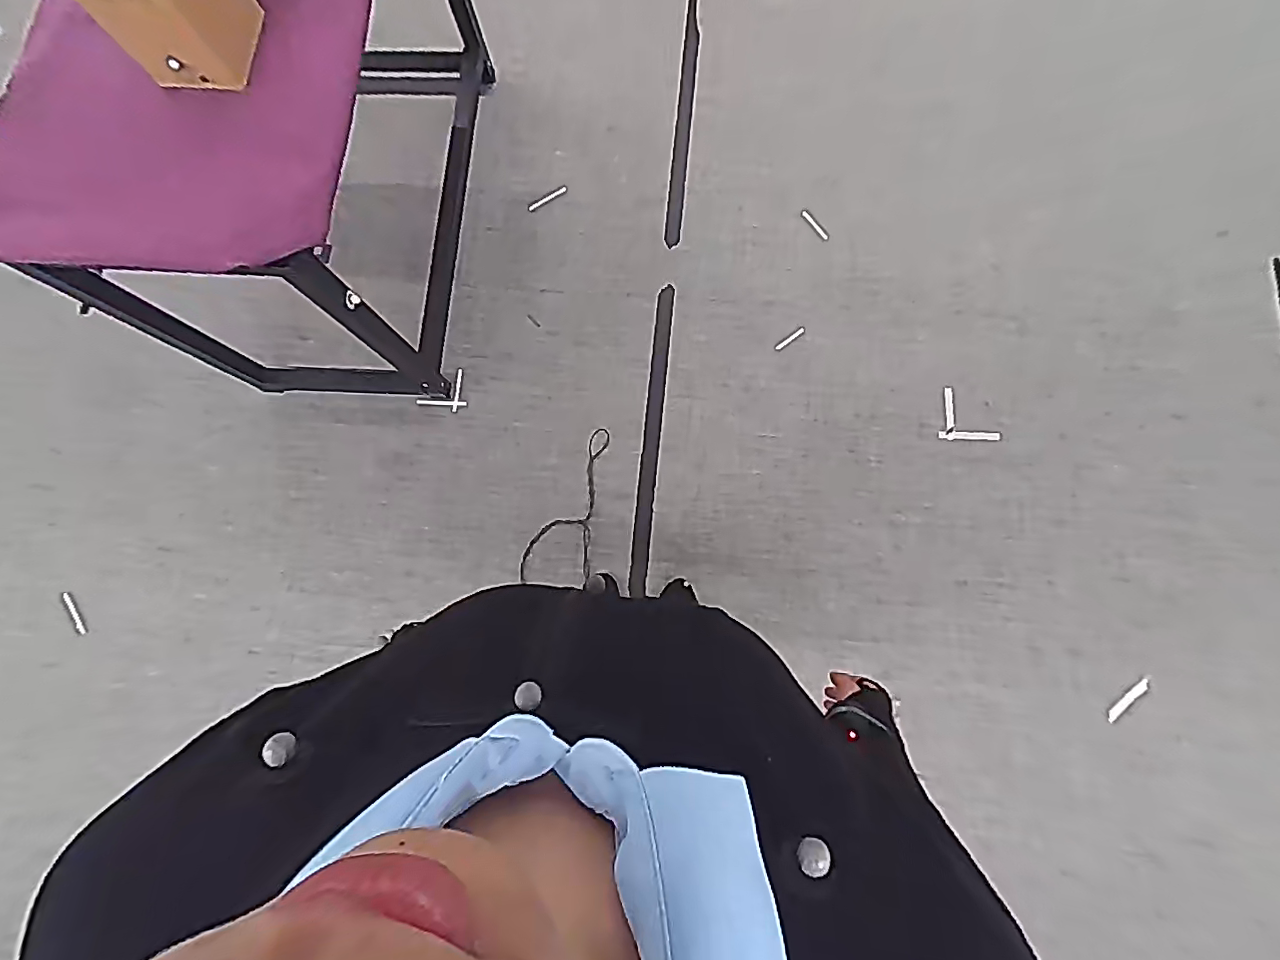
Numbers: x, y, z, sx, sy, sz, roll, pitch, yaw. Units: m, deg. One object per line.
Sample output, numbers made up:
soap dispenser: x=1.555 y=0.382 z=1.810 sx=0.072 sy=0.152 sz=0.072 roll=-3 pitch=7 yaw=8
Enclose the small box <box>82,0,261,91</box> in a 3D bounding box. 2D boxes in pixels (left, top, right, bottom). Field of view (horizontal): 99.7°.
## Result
small box: x=-0.796 y=-0.816 z=0.926 sx=0.168 sy=0.176 sz=0.179 roll=5 pitch=79 yaw=4
